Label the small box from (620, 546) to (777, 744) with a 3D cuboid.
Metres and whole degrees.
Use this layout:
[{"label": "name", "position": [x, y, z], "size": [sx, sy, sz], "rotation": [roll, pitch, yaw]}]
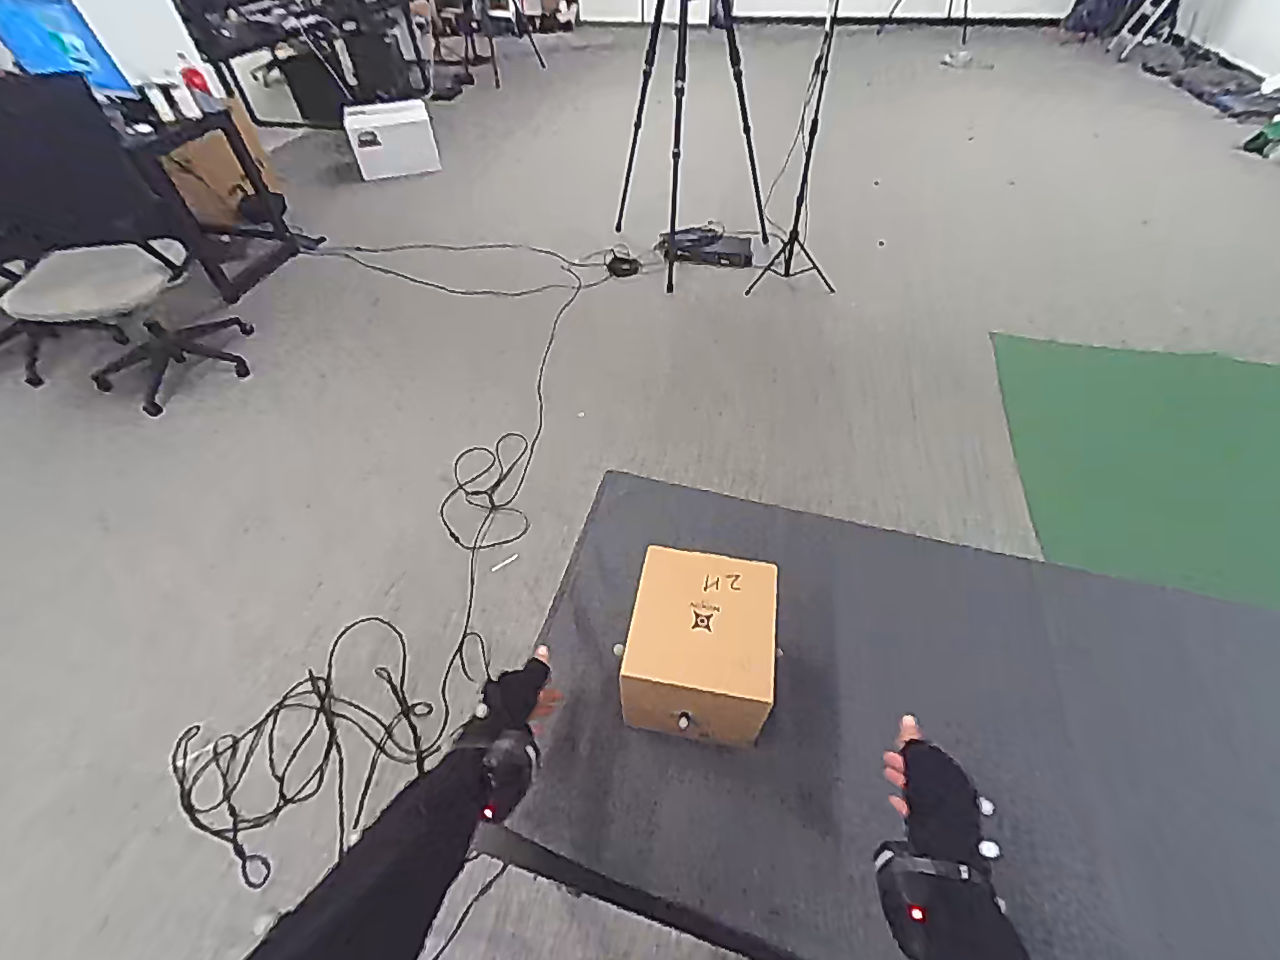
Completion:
[{"label": "small box", "position": [0.075, 0.213, 0.687], "size": [0.168, 0.176, 0.179], "rotation": [8, 48, 8]}]
